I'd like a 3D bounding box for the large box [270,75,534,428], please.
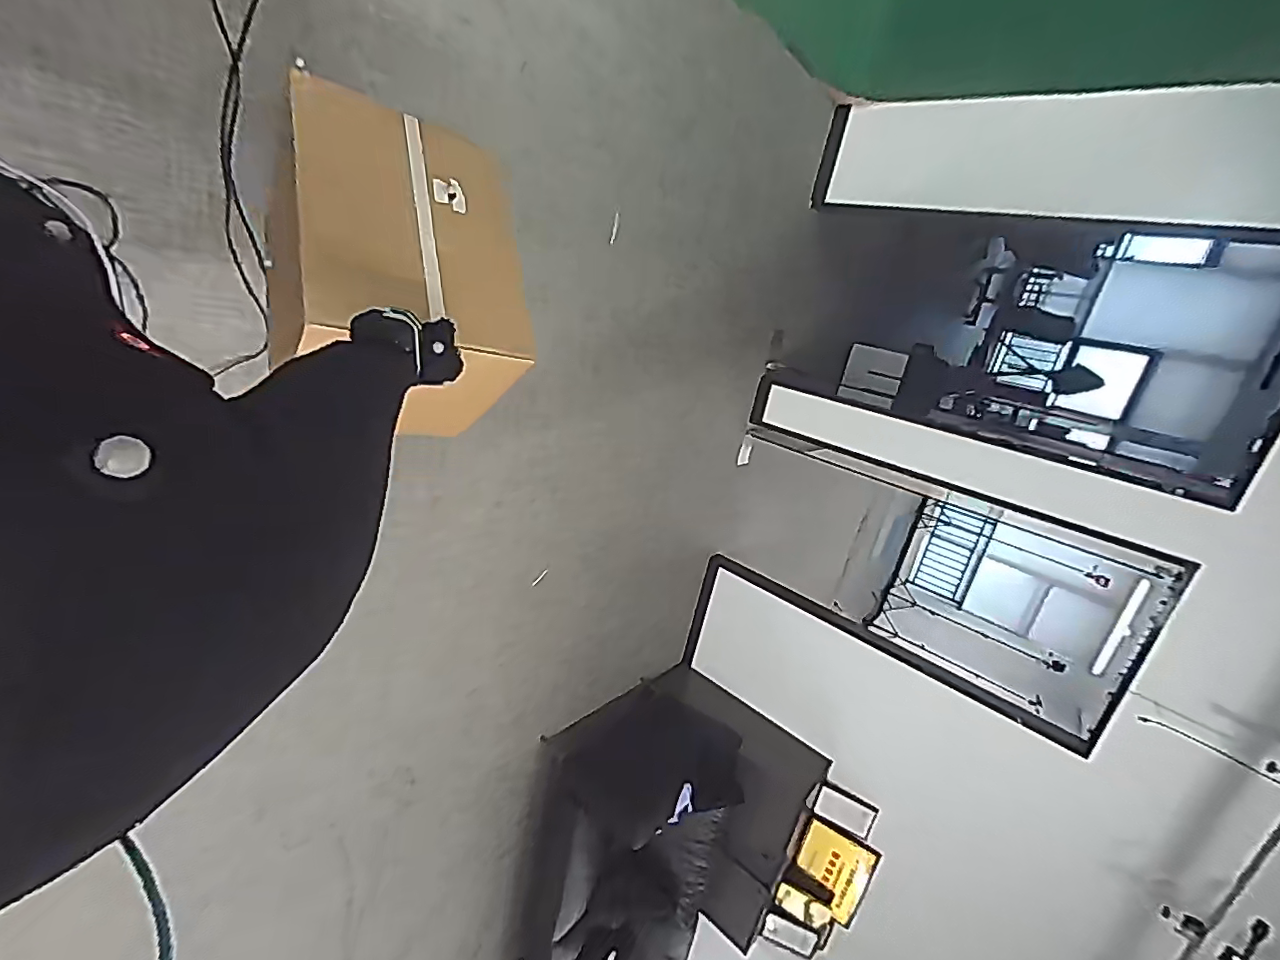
[{"bbox_3d":[-0.416,-0.331,0.909,0.320,0.320,0.408,0,70,-41],"label":"large box"}]
